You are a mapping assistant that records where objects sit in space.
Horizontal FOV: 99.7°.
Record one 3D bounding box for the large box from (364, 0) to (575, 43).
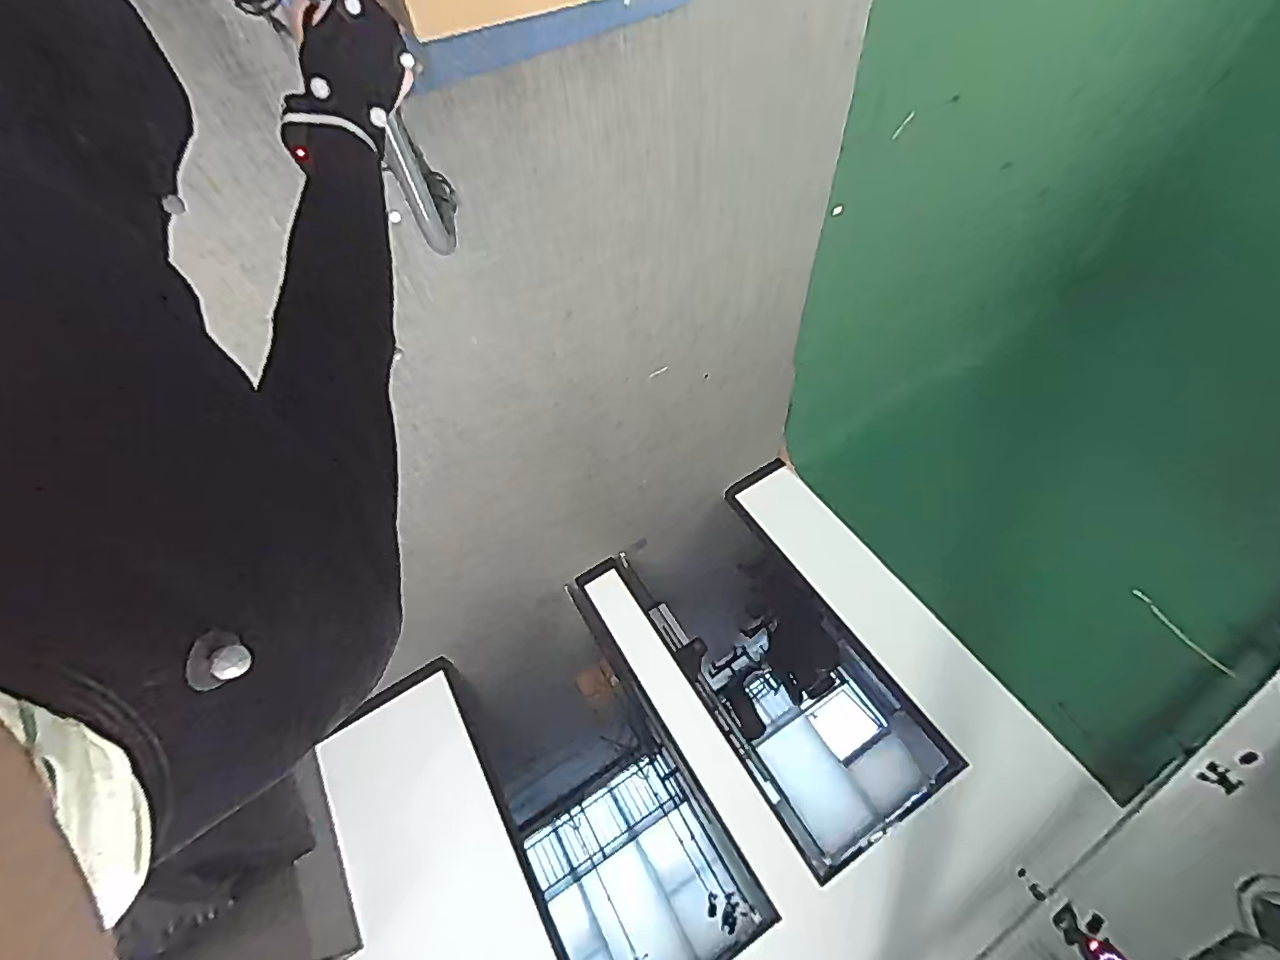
[{"bbox_3d":[-0.280,-0.961,0.845,0.408,0.320,0.320,-29,149,-15],"label":"large box"}]
